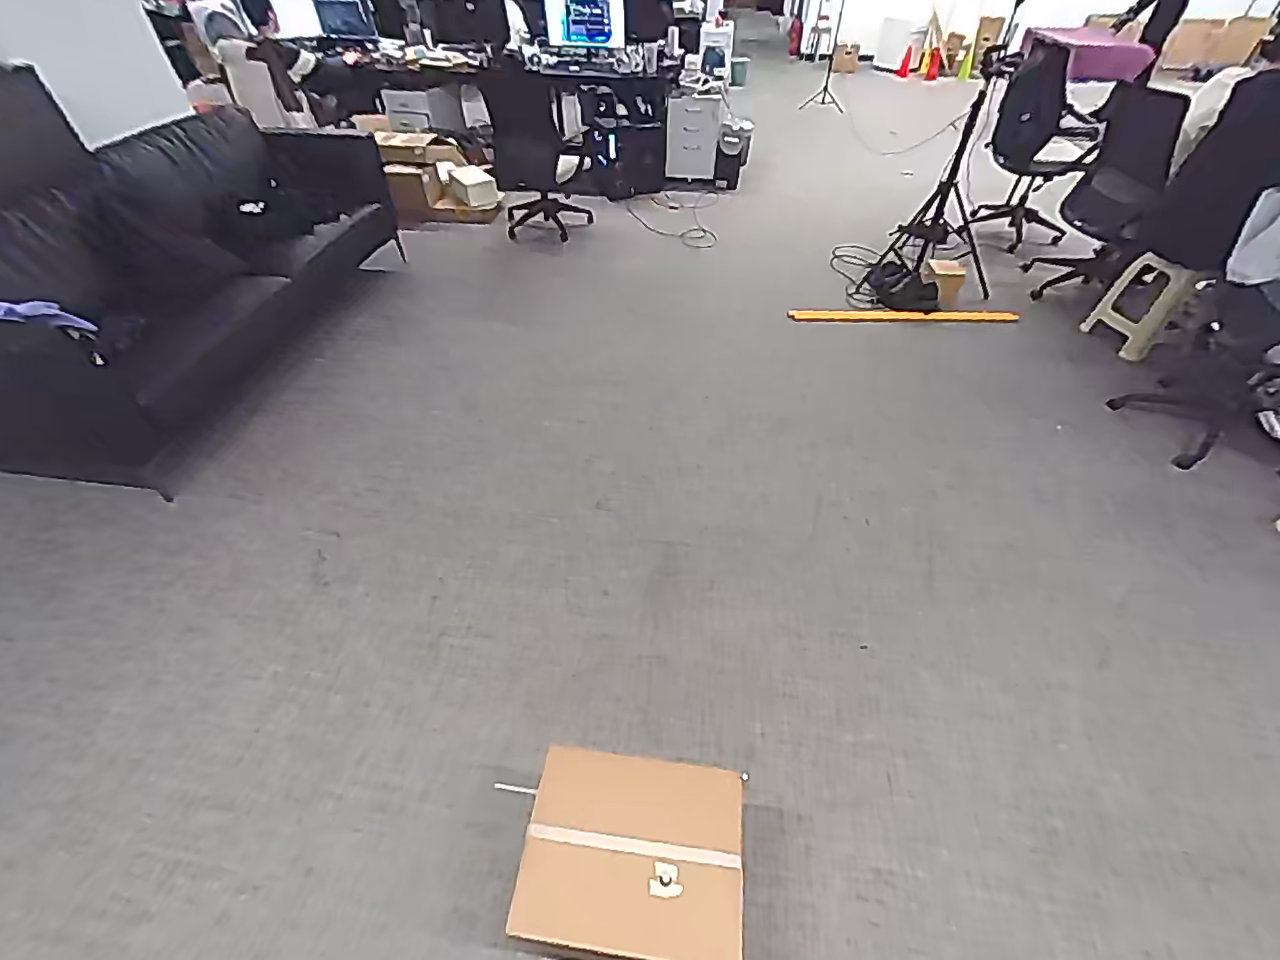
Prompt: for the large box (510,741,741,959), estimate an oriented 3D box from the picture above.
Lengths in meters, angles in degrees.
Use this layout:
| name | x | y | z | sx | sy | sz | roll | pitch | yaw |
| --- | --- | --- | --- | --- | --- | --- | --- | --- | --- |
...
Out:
| name | x | y | z | sx | sy | sz | roll | pitch | yaw |
| --- | --- | --- | --- | --- | --- | --- | --- | --- | --- |
| large box | -0.013 | 0.780 | 1.121 | 0.408 | 0.320 | 0.320 | 6 | 46 | 6 |
